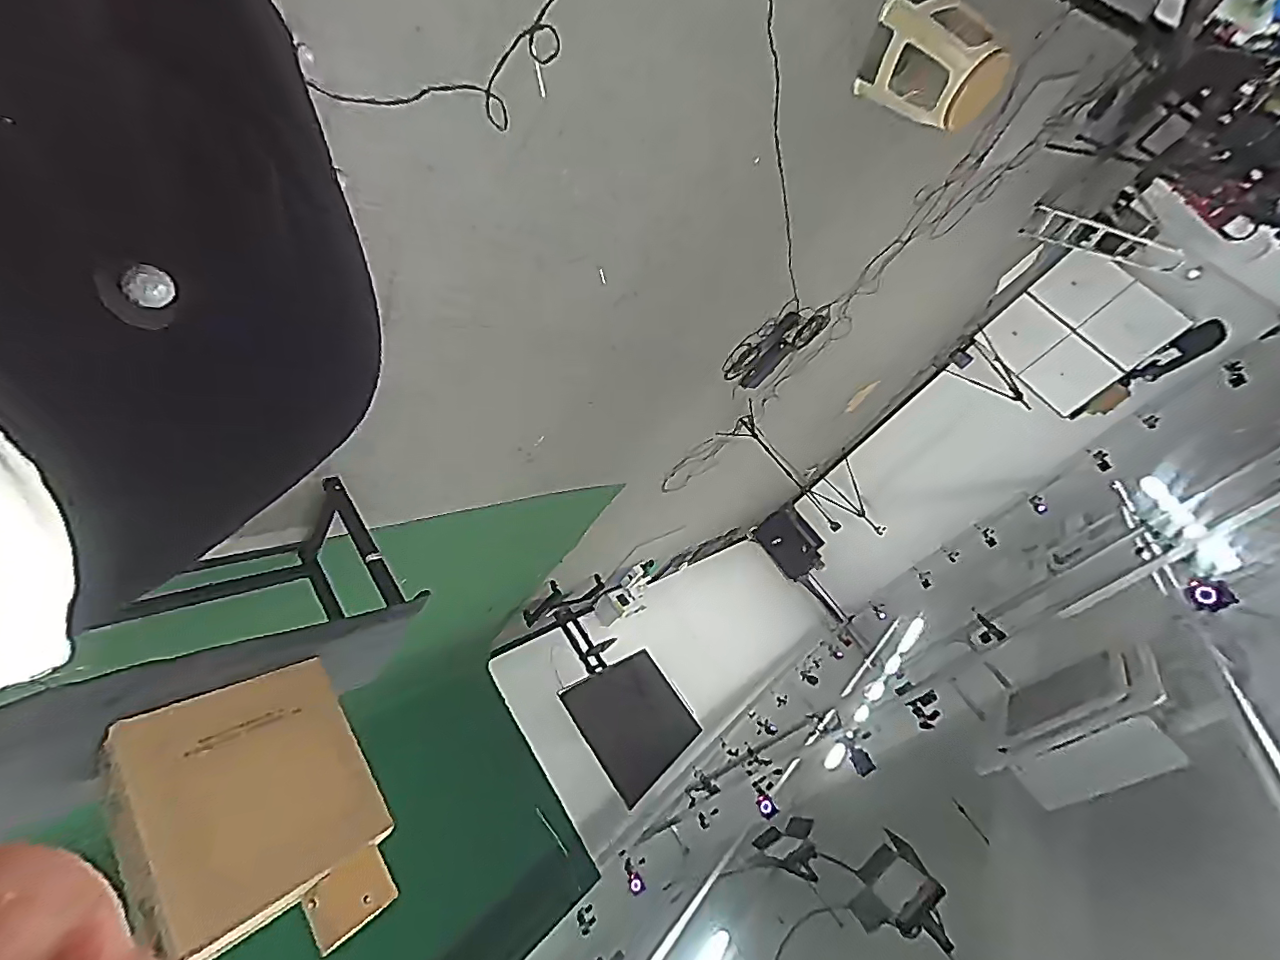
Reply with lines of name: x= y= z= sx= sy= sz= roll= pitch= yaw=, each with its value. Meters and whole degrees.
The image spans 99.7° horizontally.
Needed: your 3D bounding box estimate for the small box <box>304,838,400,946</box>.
small box: x=-0.869 y=1.231 z=1.627 sx=0.168 sy=0.176 sz=0.179 roll=-51 pitch=157 yaw=26
